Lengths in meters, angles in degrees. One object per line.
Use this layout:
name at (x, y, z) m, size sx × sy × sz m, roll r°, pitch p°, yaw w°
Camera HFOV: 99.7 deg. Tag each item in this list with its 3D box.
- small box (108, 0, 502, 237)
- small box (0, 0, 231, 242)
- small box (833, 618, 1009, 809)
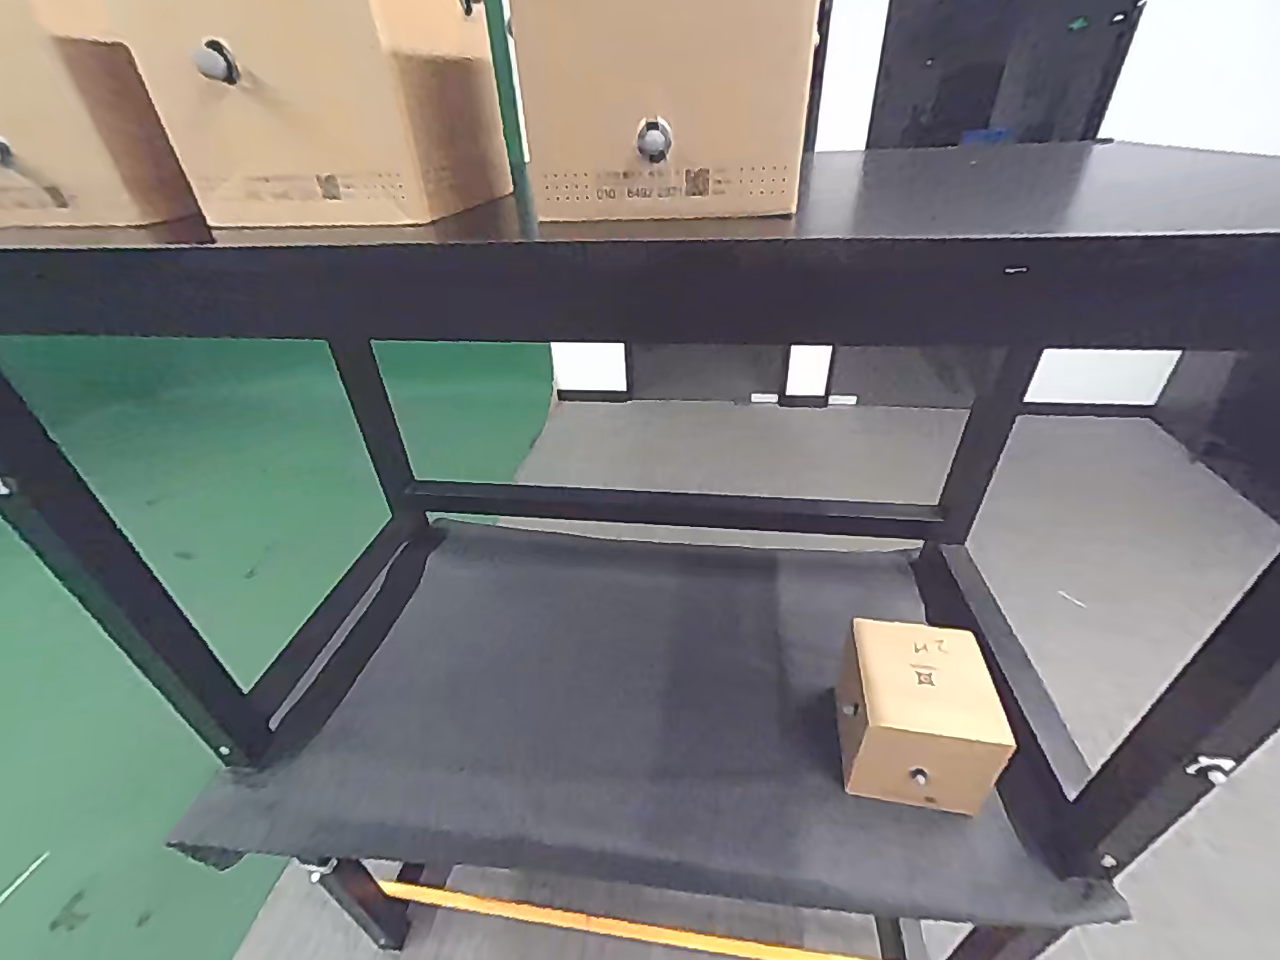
small box at (-0.217, -0.284, 0.402) m, size 0.168 × 0.176 × 0.179 m, roll 3°, pitch 34°, yaw 9°
small box at (-0.438, -0.303, 0.443) m, size 0.168 × 0.176 × 0.179 m, roll 3°, pitch 35°, yaw 8°
small box at (0.374, 0.324, 0.757) m, size 0.168 × 0.176 × 0.179 m, roll 5°, pitch 34°, yaw 11°
